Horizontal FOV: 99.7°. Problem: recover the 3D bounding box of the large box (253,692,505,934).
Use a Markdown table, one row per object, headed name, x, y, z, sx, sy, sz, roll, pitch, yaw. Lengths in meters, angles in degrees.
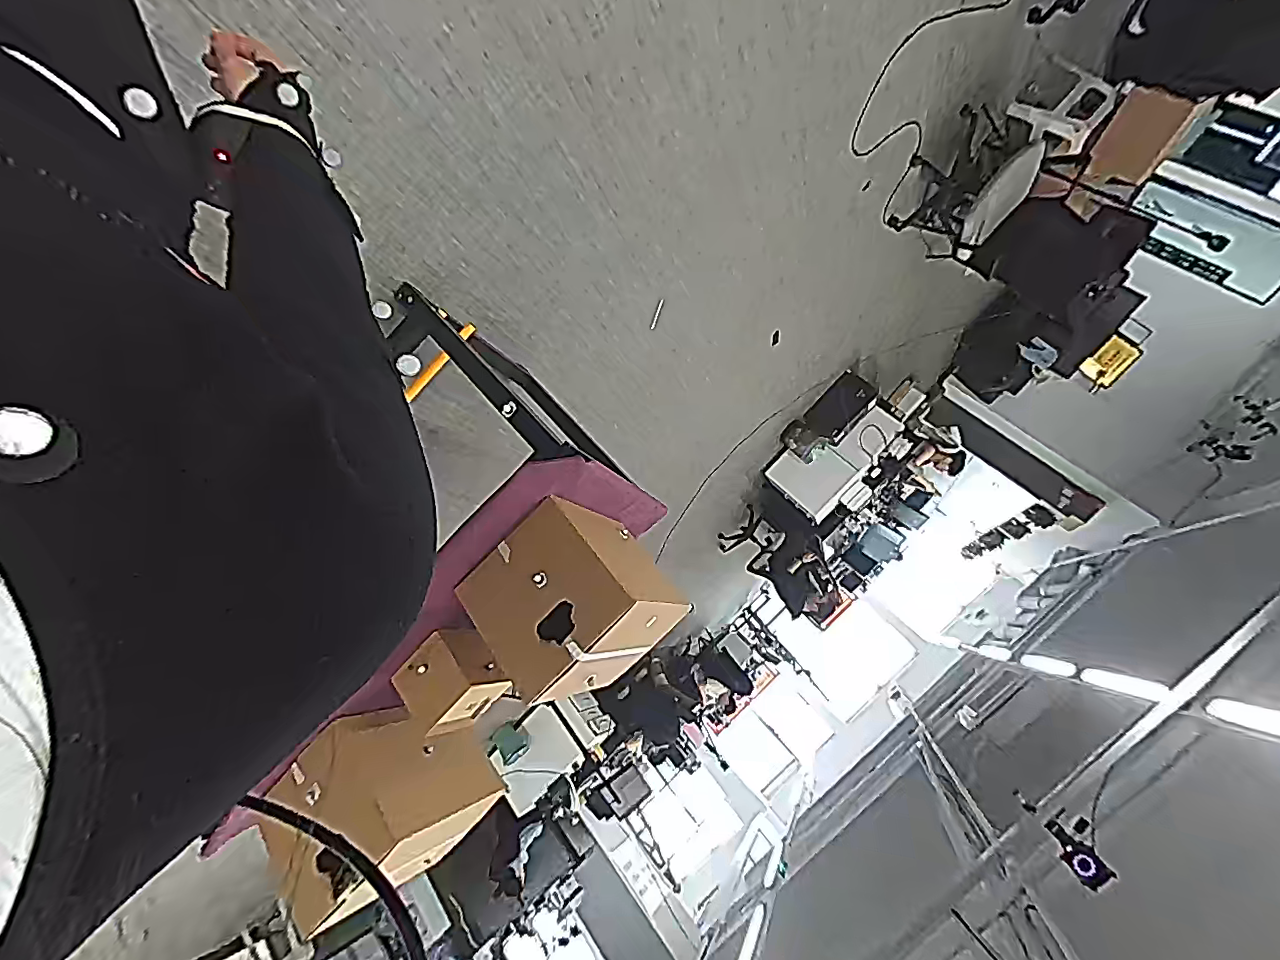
| name | x | y | z | sx | sy | sz | roll | pitch | yaw |
| --- | --- | --- | --- | --- | --- | --- | --- | --- | --- |
| large box | -0.629 | 0.777 | 1.344 | 0.320 | 0.320 | 0.408 | -46 | 157 | 5 |
